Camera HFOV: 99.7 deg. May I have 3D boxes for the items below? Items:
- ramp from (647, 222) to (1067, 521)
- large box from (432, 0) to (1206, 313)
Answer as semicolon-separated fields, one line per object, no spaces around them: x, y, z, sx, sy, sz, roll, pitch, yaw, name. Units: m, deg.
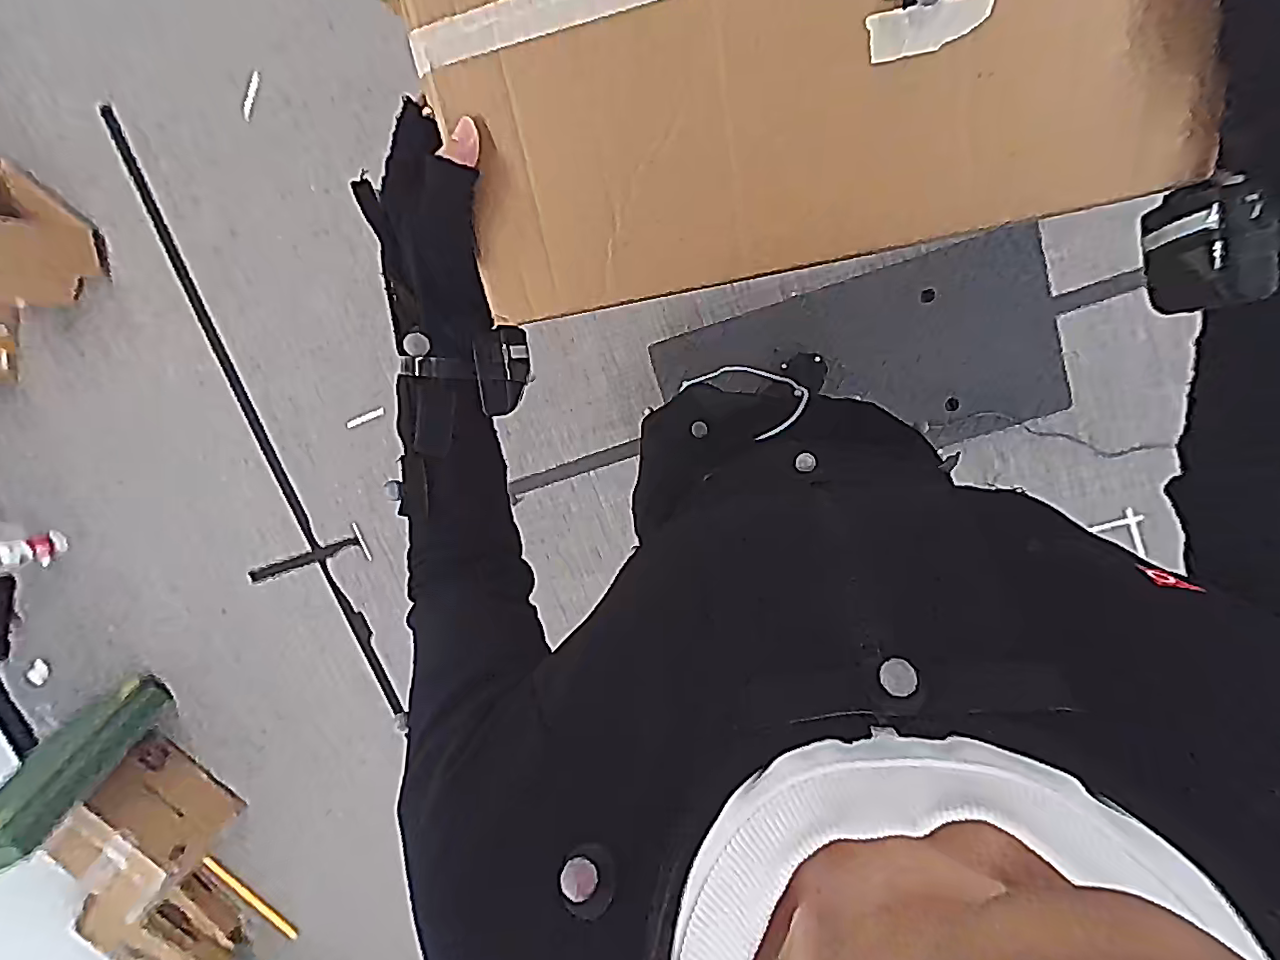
0.561;-0.267;1.406;0.991;0.206;0.509;-18;97;14;ramp
0.094;-0.334;0.424;0.408;0.320;0.320;-8;110;11;large box
